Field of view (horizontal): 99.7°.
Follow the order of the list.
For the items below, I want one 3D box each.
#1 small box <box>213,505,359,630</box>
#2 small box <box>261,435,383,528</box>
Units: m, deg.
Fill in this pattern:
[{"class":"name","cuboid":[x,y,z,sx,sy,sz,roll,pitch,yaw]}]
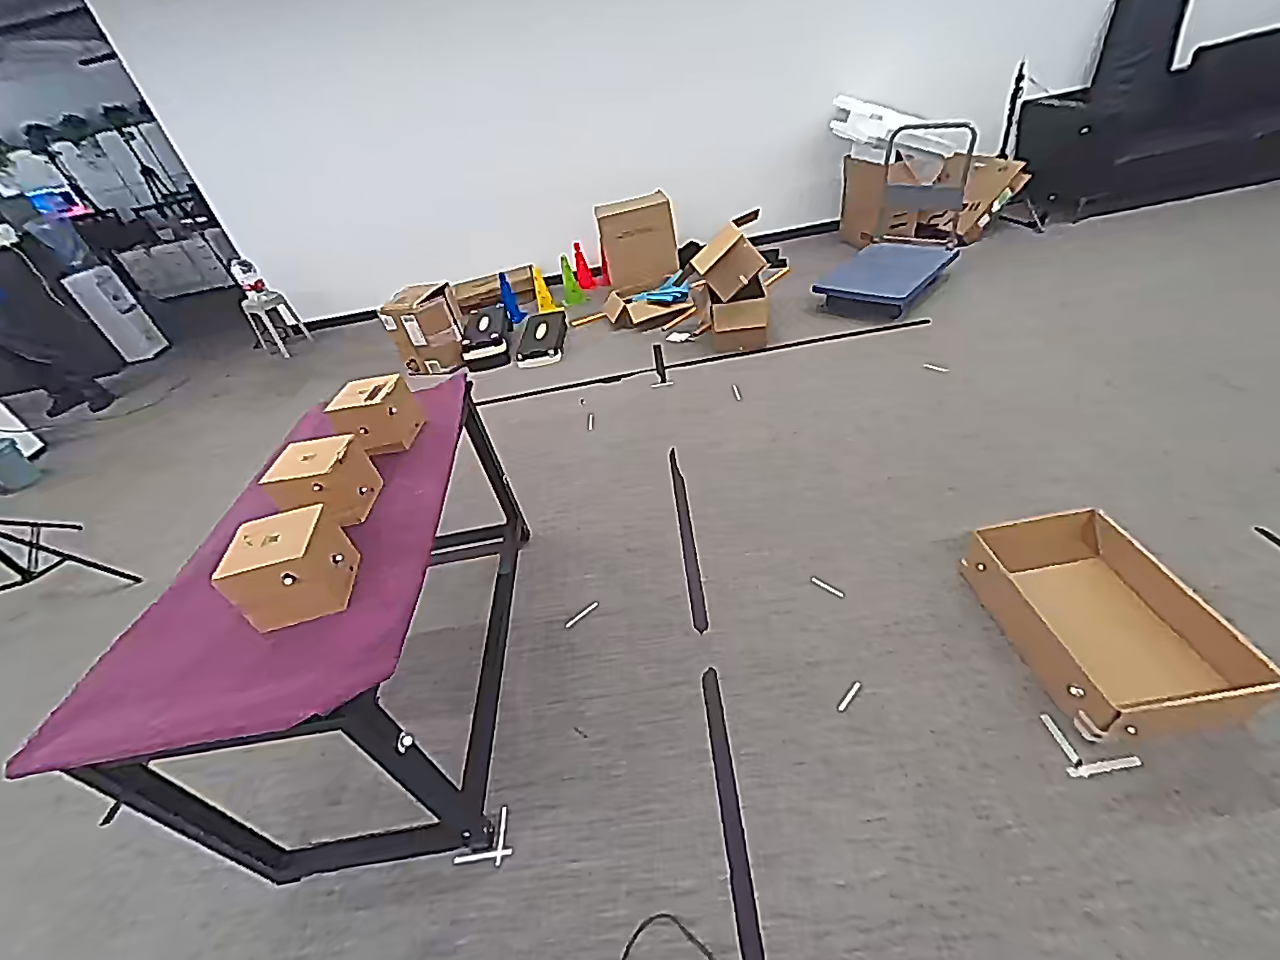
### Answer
[{"class":"small box","cuboid":[-0.719,0.183,1.127,0.179,0.176,0.168,-15,38,-3]},{"class":"small box","cuboid":[-0.788,0.012,1.361,0.179,0.176,0.168,-9,39,4]}]
